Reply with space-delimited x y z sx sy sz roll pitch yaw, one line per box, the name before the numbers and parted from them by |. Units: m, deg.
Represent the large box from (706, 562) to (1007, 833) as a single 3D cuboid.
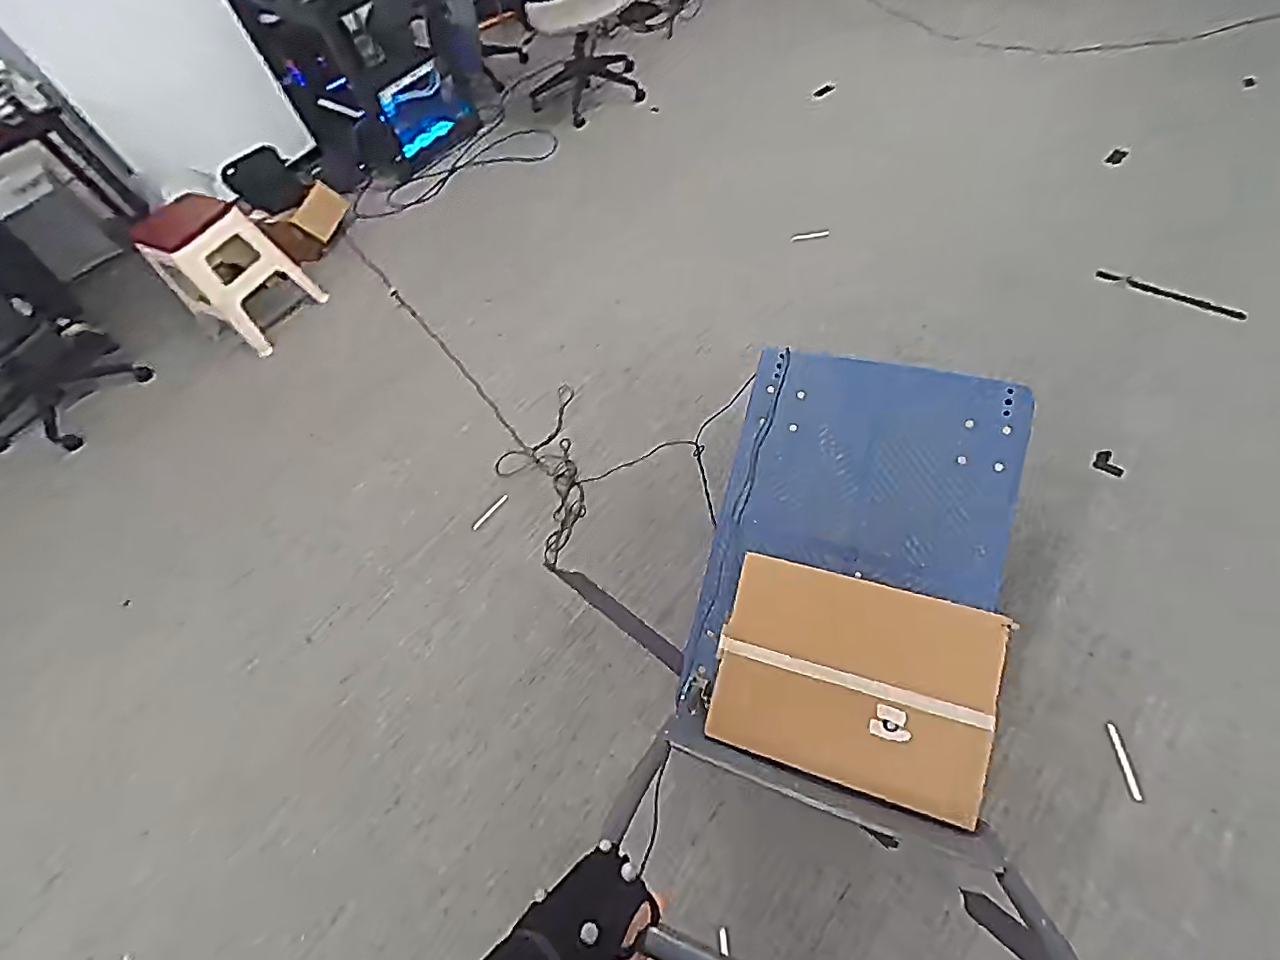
large box | 0.361 0.347 0.982 0.408 0.320 0.320 13 84 16
